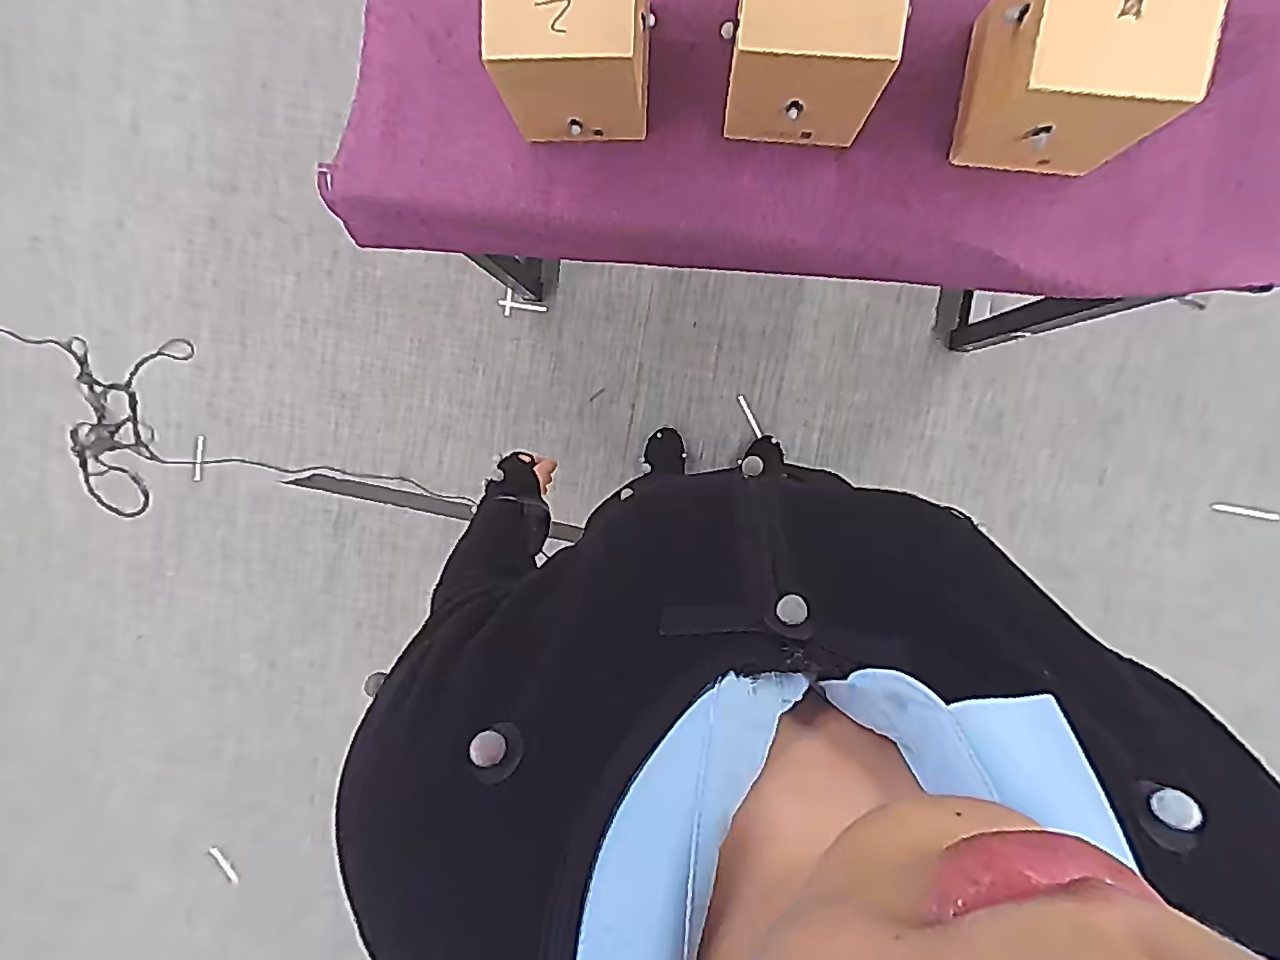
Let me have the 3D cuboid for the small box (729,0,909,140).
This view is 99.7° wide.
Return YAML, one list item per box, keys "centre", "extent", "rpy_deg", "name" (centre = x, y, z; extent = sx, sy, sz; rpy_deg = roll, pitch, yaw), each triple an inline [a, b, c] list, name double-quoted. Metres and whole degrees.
- centre: [0.198, -0.525, 0.620]
  extent: [0.168, 0.176, 0.179]
  rpy_deg: [7, 95, 3]
  name: "small box"

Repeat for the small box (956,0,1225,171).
- centre: [0.485, -0.475, 0.603]
  extent: [0.168, 0.176, 0.179]
  rpy_deg: [8, 96, 4]
  name: "small box"
